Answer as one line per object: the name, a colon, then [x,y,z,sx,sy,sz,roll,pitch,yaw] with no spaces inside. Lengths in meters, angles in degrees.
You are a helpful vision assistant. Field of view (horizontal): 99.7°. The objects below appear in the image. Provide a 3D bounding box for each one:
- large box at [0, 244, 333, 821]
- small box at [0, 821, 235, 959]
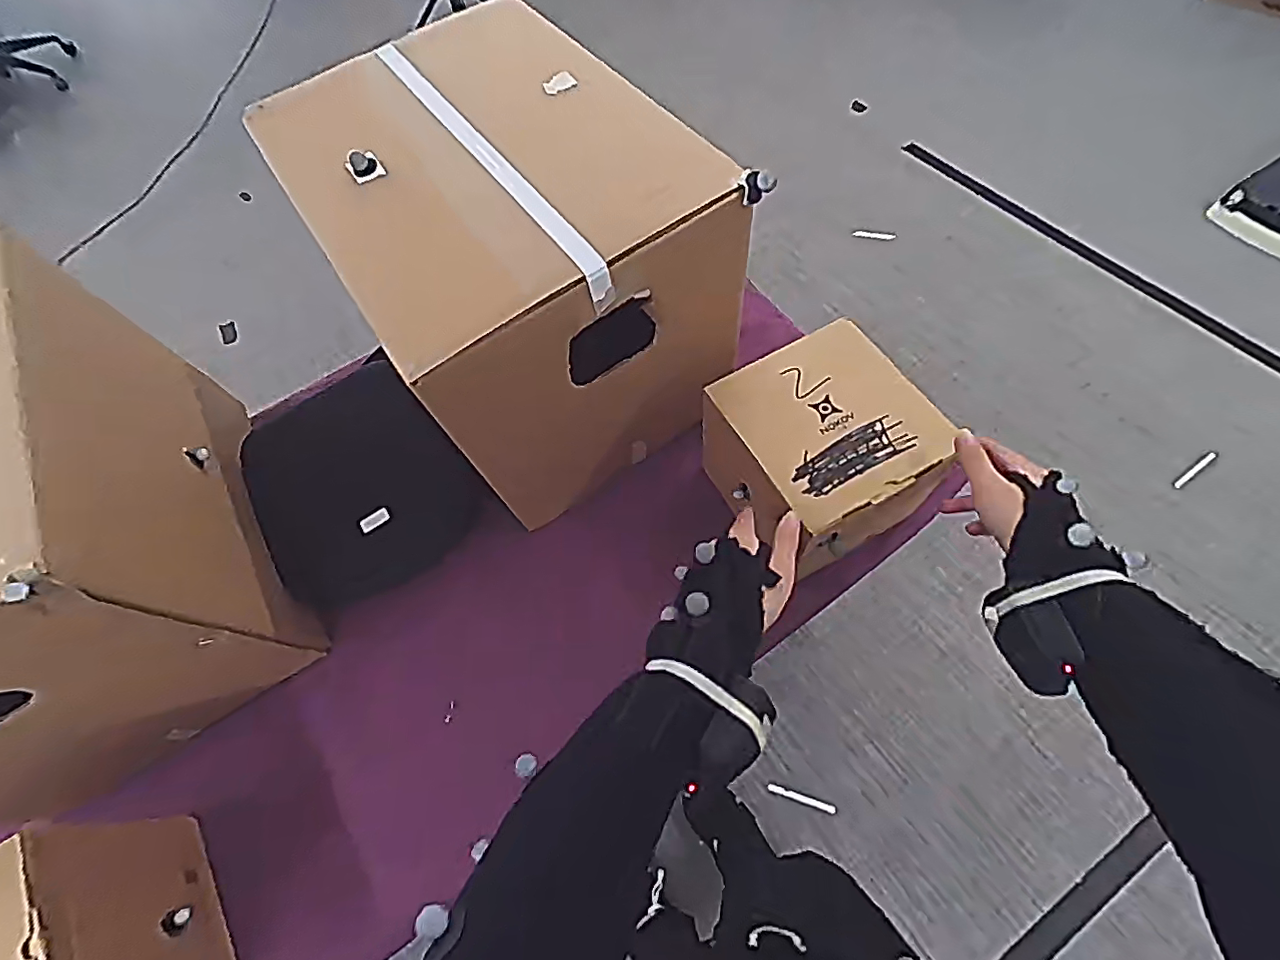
large box: [-0.592,0.064,0.535,0.320,0.320,0.408,-33,68,-9]
small box: [-0.481,0.408,0.429,0.179,0.176,0.168,-35,65,-15]
